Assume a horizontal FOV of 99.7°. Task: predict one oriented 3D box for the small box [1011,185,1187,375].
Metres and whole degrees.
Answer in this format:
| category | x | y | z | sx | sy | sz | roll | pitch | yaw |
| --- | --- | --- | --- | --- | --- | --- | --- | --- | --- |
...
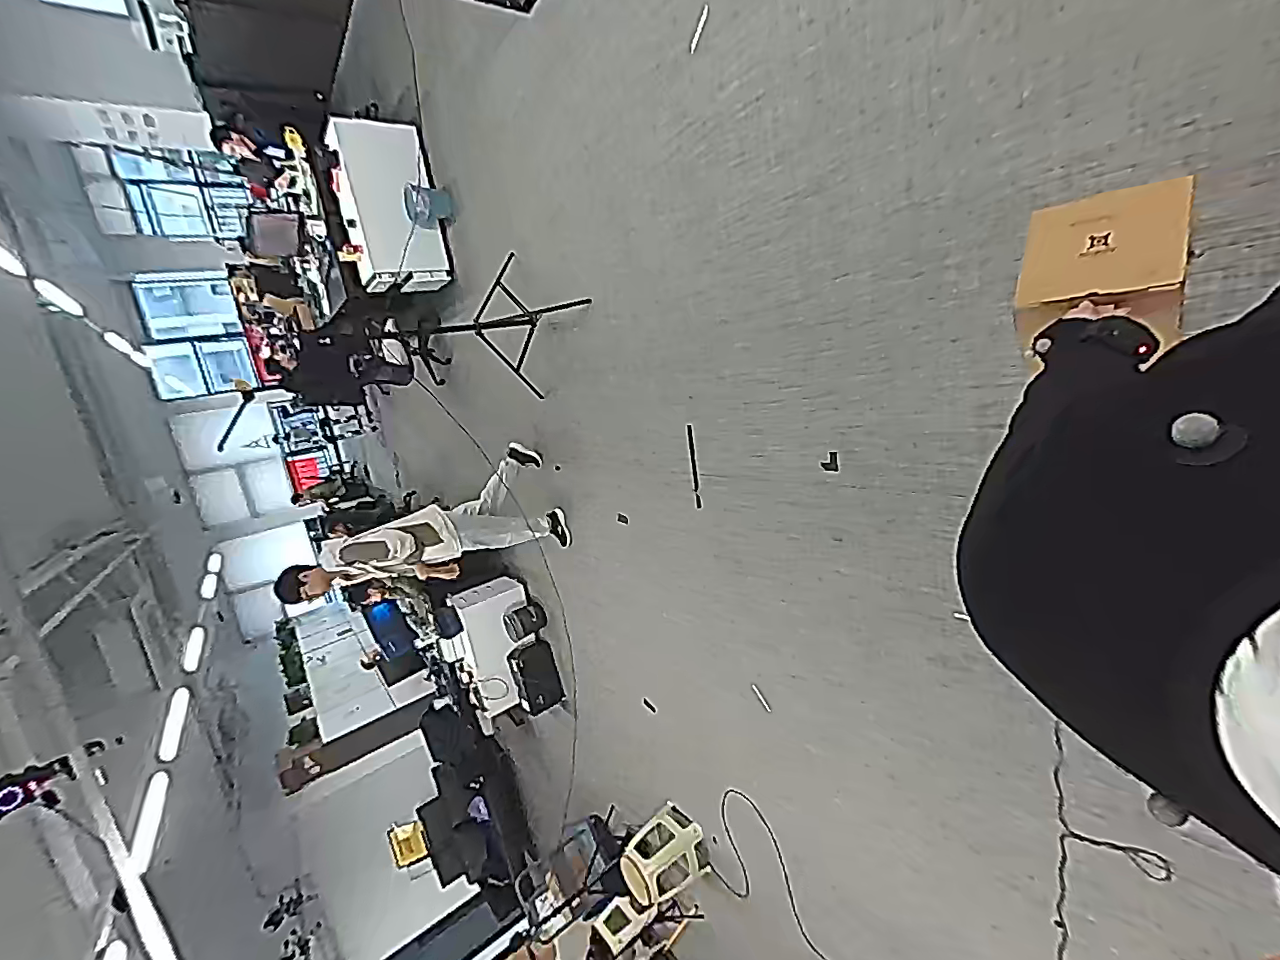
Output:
| category | x | y | z | sx | sy | sz | roll | pitch | yaw |
| --- | --- | --- | --- | --- | --- | --- | --- | --- | --- |
| small box | 0.642 | -0.261 | 0.758 | 0.168 | 0.179 | 0.176 | 5 | 154 | 43 |
